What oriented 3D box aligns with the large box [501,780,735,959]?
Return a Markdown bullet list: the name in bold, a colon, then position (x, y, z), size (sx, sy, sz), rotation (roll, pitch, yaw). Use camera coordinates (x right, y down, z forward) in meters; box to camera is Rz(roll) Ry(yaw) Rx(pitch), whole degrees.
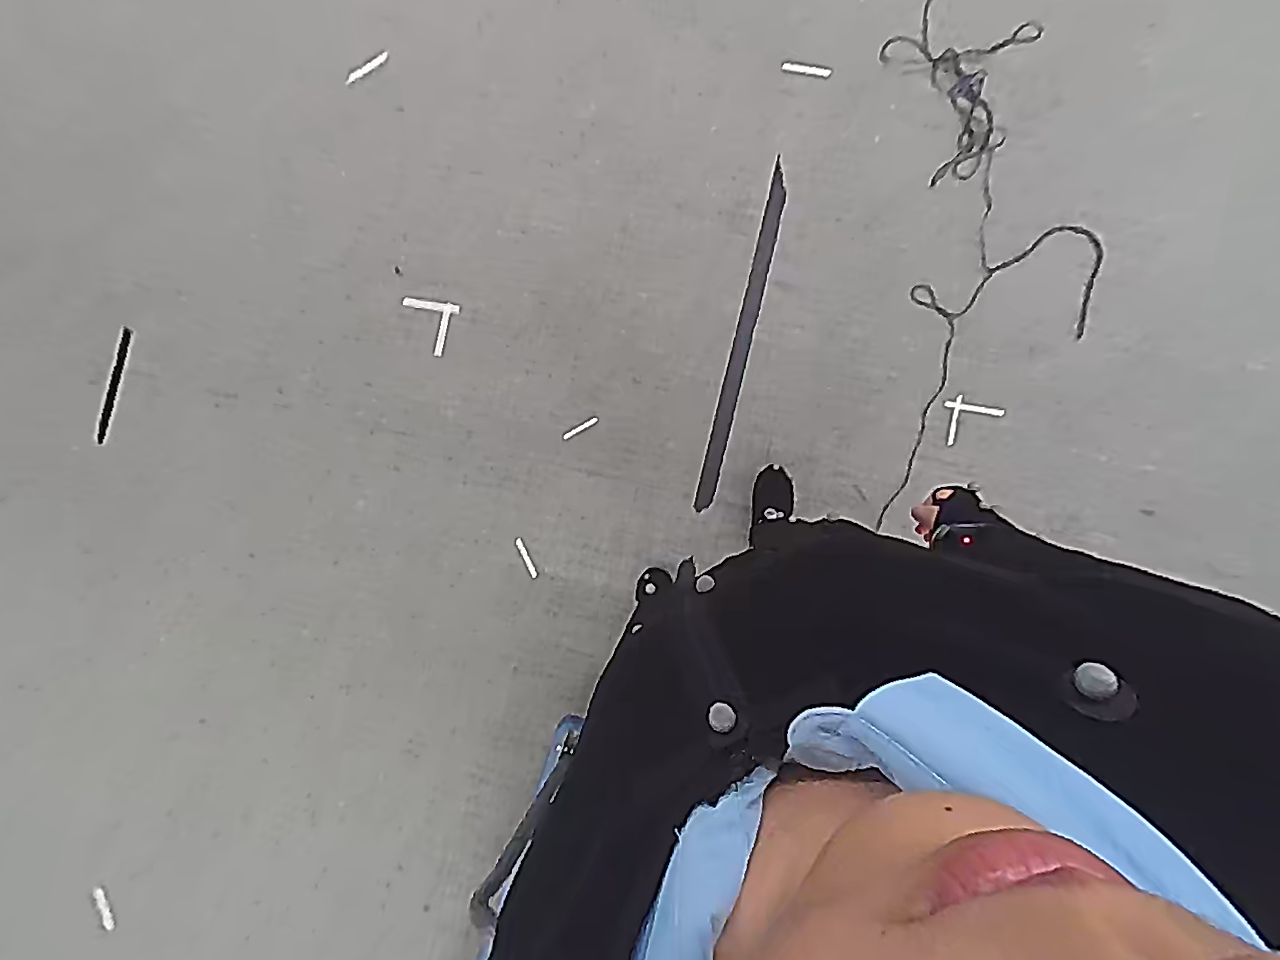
- **large box**: position (-0.038, 0.899, 1.130), size (0.408, 0.320, 0.320), rotation (14, 86, 7)
